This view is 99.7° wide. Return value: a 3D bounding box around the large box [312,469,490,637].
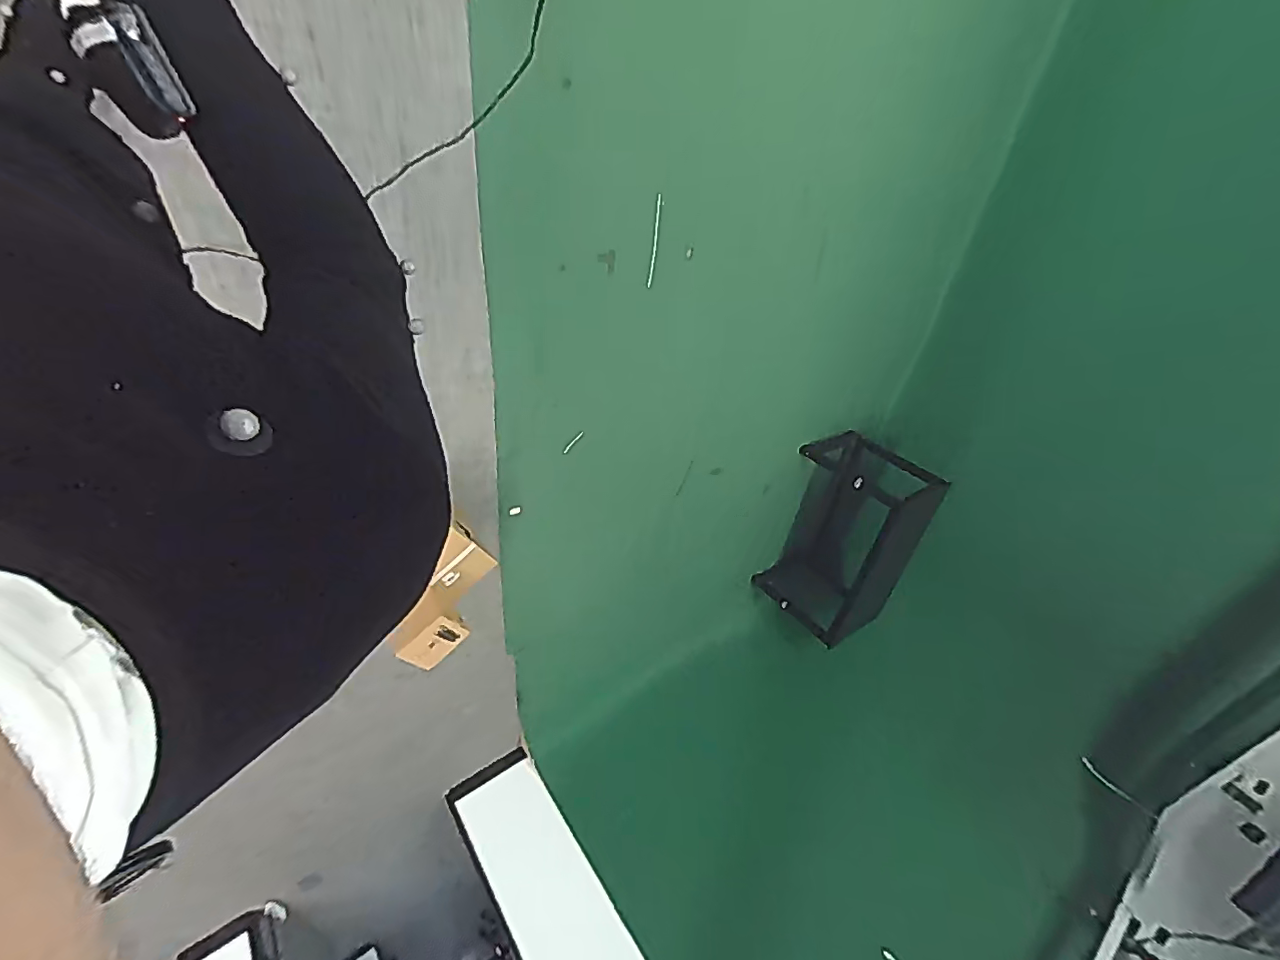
[{"bbox_3d":[-0.806,0.245,1.835,0.408,0.320,0.320,-43,143,-9],"label":"large box"}]
